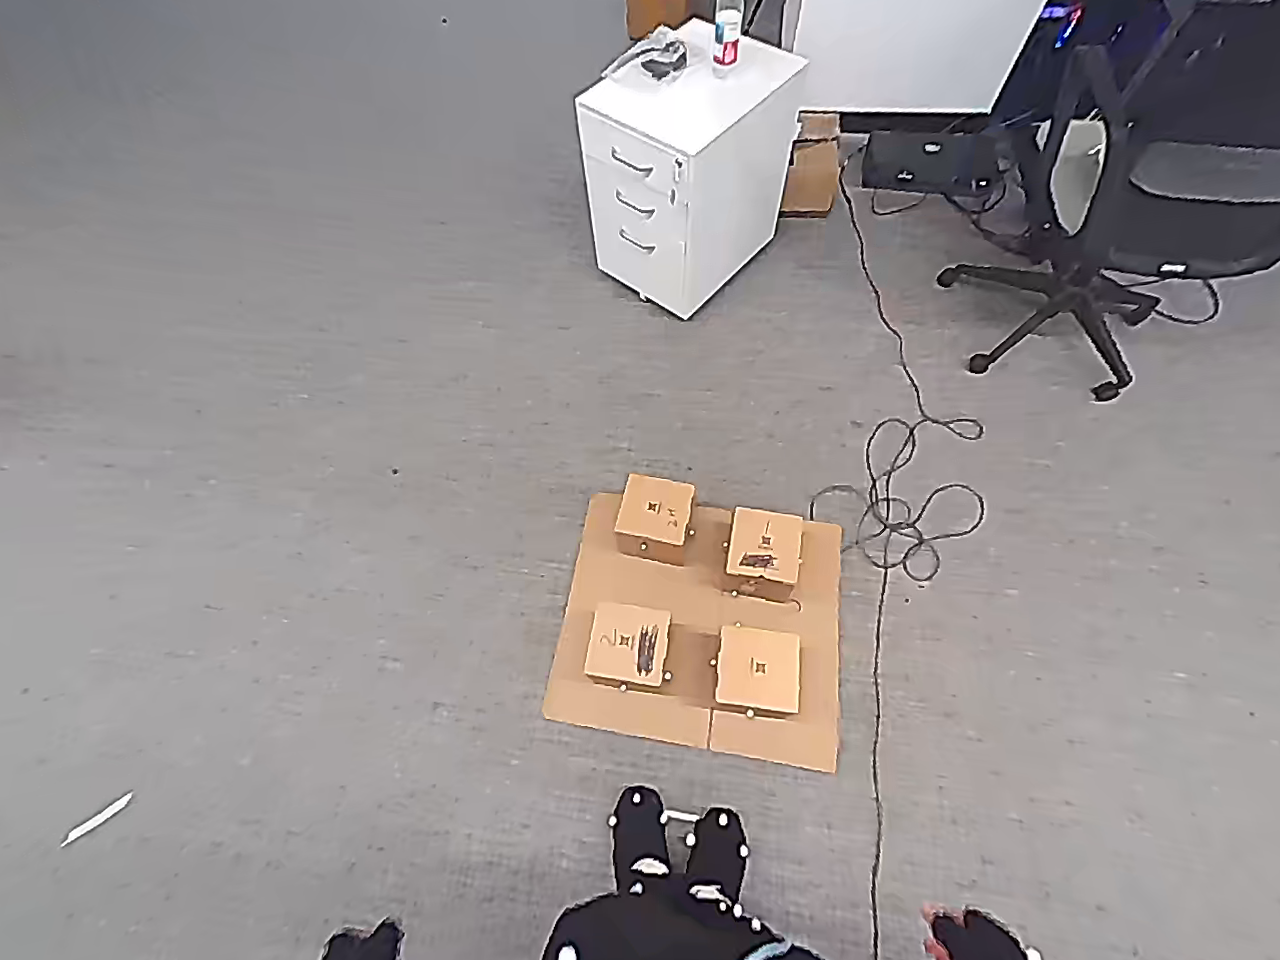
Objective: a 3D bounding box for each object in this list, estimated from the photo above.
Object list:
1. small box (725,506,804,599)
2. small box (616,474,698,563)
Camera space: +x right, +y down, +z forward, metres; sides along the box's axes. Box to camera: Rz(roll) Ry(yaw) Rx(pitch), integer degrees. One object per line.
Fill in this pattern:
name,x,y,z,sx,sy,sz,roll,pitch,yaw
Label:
small box,0.311,0.190,1.369,0.168,0.176,0.179,9,64,10
small box,0.049,0.107,1.423,0.179,0.176,0.168,11,65,9
